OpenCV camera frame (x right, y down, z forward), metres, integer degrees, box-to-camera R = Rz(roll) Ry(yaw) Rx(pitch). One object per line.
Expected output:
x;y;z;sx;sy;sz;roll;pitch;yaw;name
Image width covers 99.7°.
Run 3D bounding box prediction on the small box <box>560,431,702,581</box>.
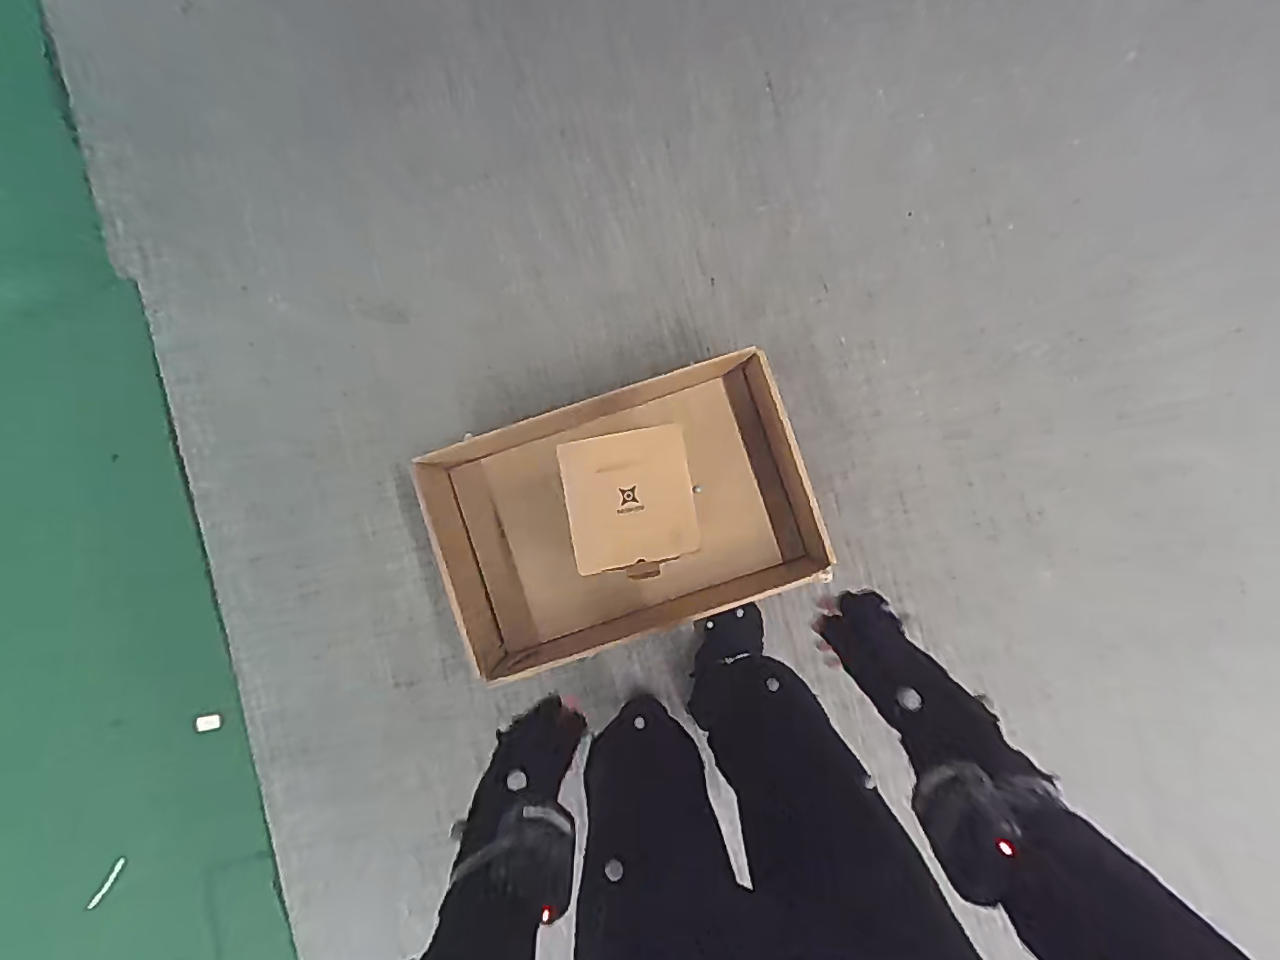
-0.008;0.037;0.782;0.168;0.176;0.179;-11;86;1;small box
